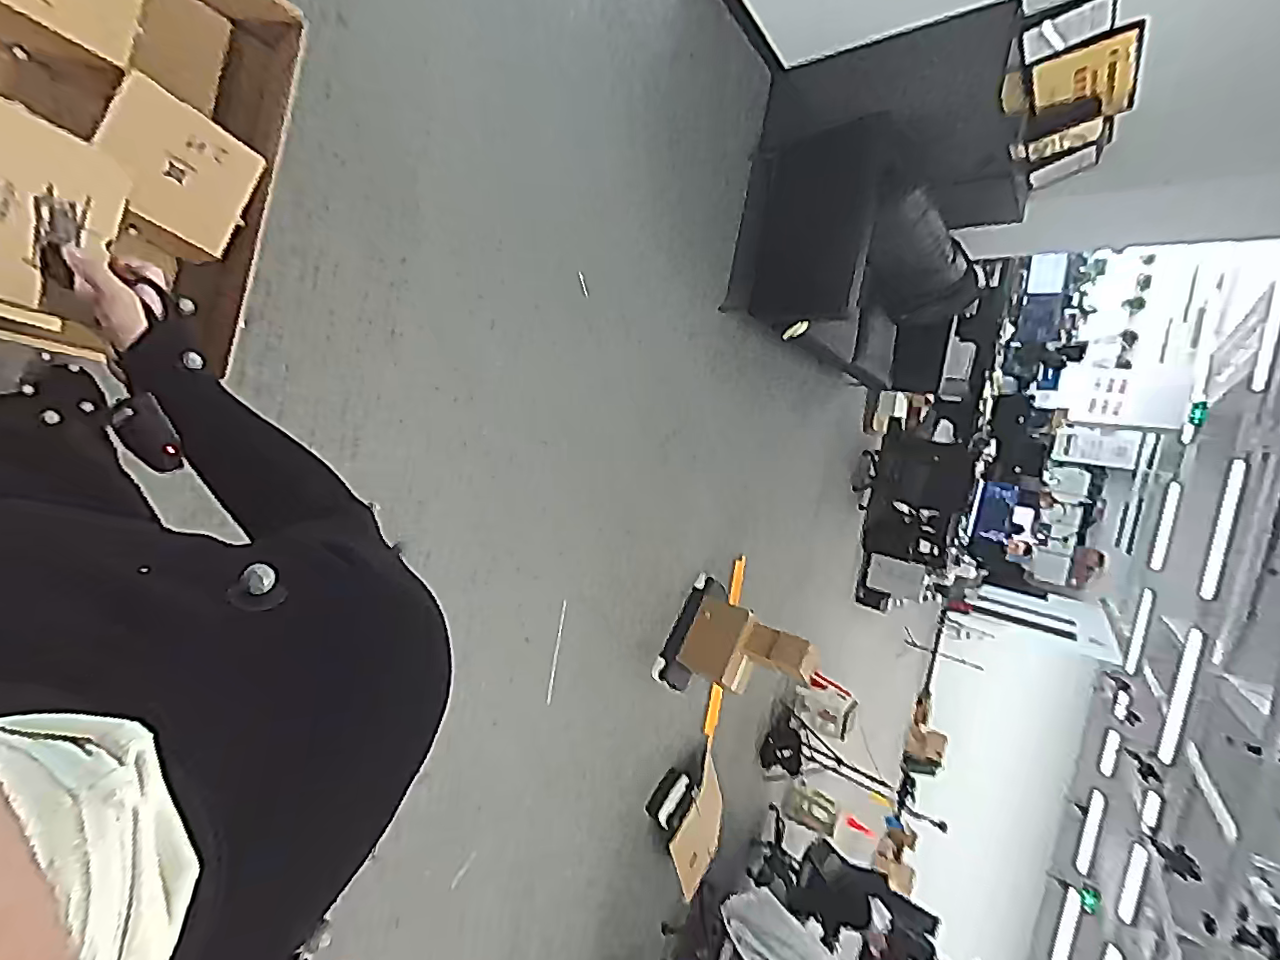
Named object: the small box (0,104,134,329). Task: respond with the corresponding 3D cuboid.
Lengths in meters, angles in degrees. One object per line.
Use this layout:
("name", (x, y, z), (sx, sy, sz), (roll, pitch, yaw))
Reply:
("small box", (-0.625, -0.256, 0.485), (0.179, 0.176, 0.168), (18, 87, -67))
